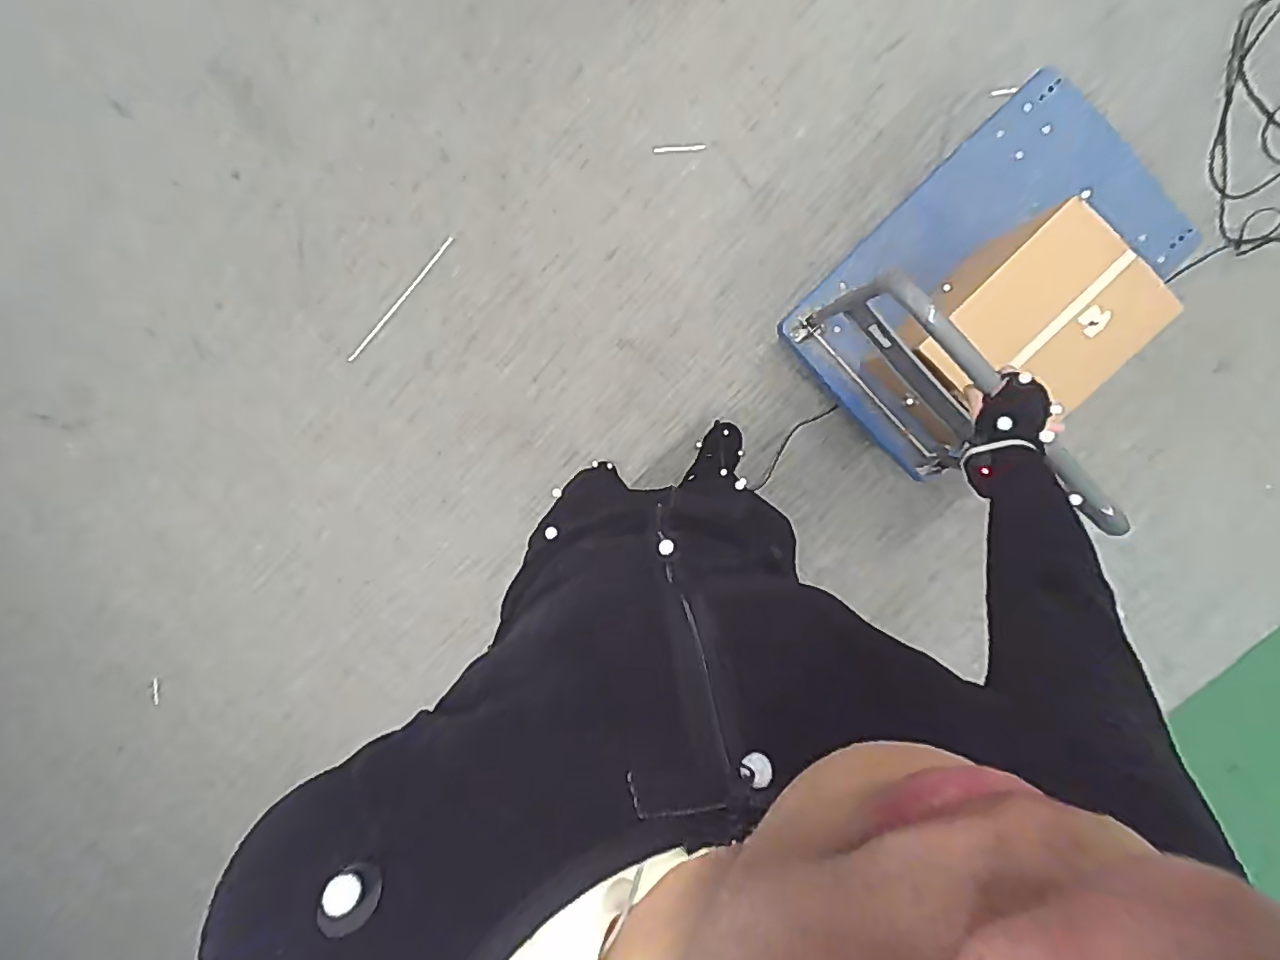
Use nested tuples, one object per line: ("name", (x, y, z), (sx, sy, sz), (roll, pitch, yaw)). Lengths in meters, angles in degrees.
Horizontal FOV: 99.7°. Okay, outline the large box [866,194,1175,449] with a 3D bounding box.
("large box", (0.804, -0.319, 1.211), (0.320, 0.320, 0.408), (44, 96, -4))
